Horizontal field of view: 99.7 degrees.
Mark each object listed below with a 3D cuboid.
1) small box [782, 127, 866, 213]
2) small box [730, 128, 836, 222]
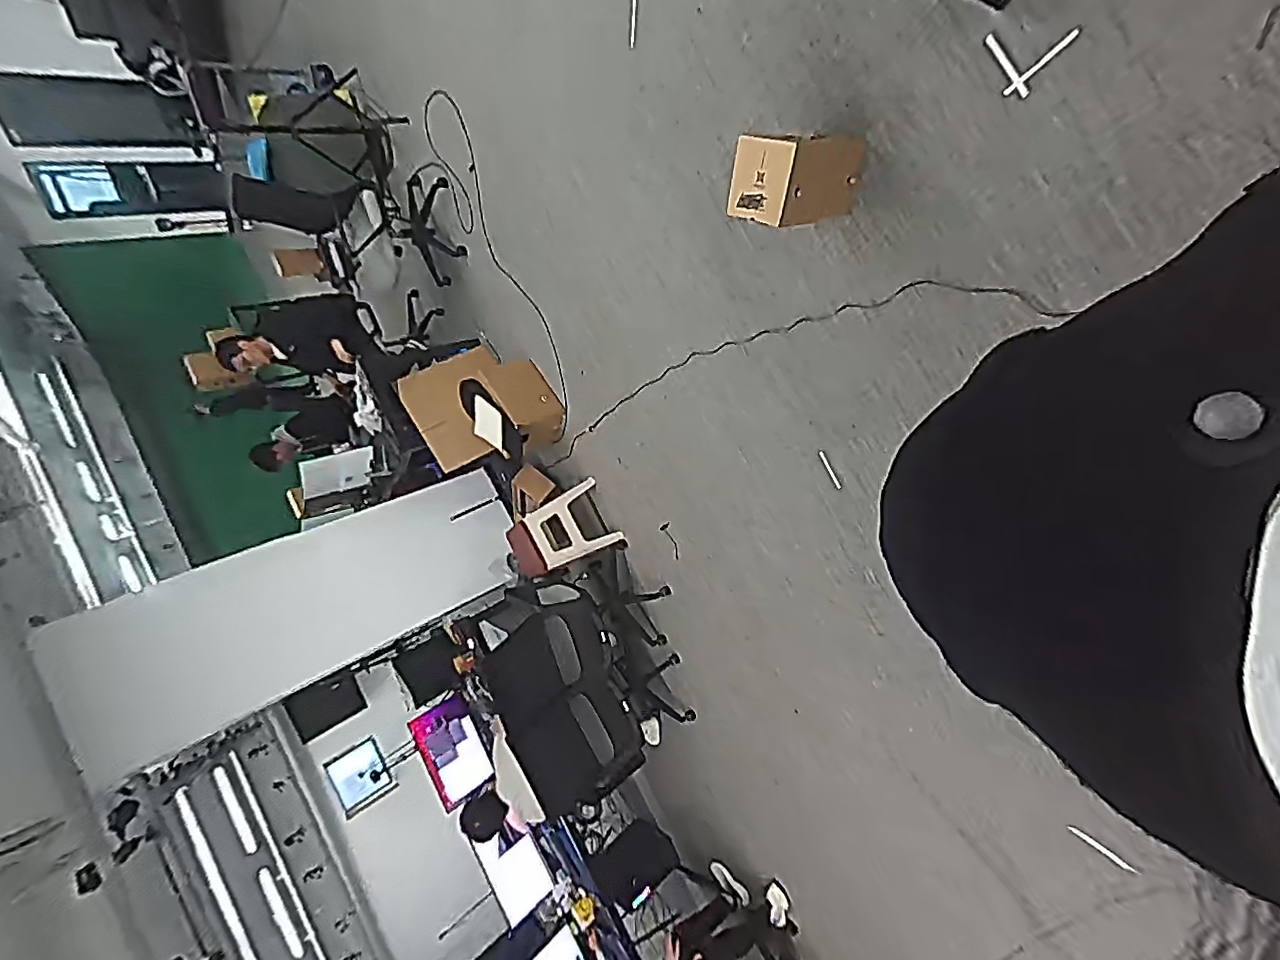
[{"bbox_3d":[0.463,-0.812,1.417,0.168,0.176,0.179,35,135,36],"label":"small box"},{"bbox_3d":[0.348,-0.746,1.317,0.168,0.176,0.179,36,136,35],"label":"small box"}]
